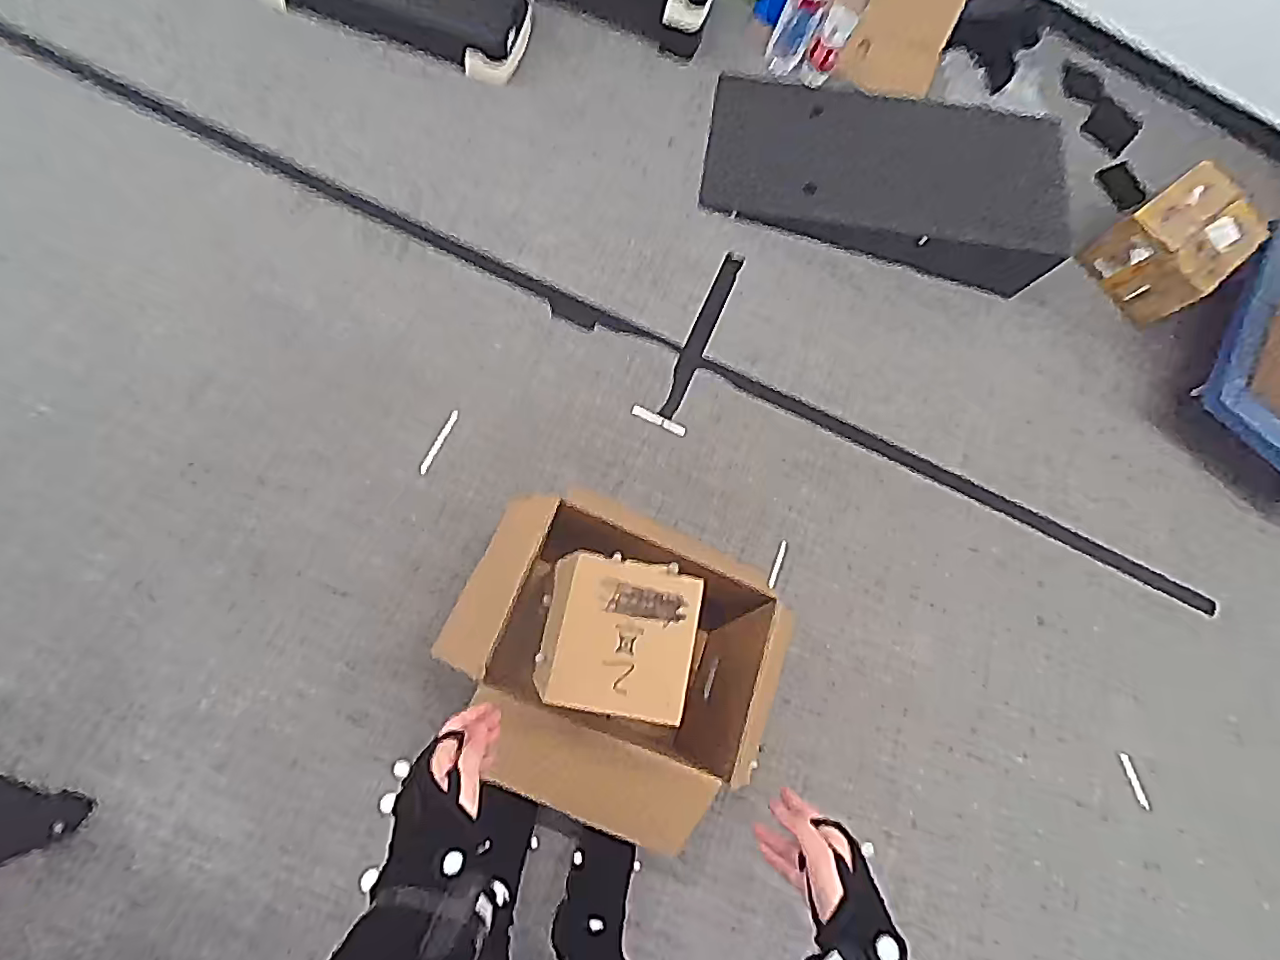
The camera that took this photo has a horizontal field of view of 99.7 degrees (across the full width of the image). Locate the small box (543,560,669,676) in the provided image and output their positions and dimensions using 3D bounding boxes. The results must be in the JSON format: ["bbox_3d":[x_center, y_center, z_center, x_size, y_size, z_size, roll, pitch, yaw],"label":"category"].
[{"bbox_3d":[-0.061,0.225,0.883,0.179,0.176,0.168,5,76,-14],"label":"small box"}]
